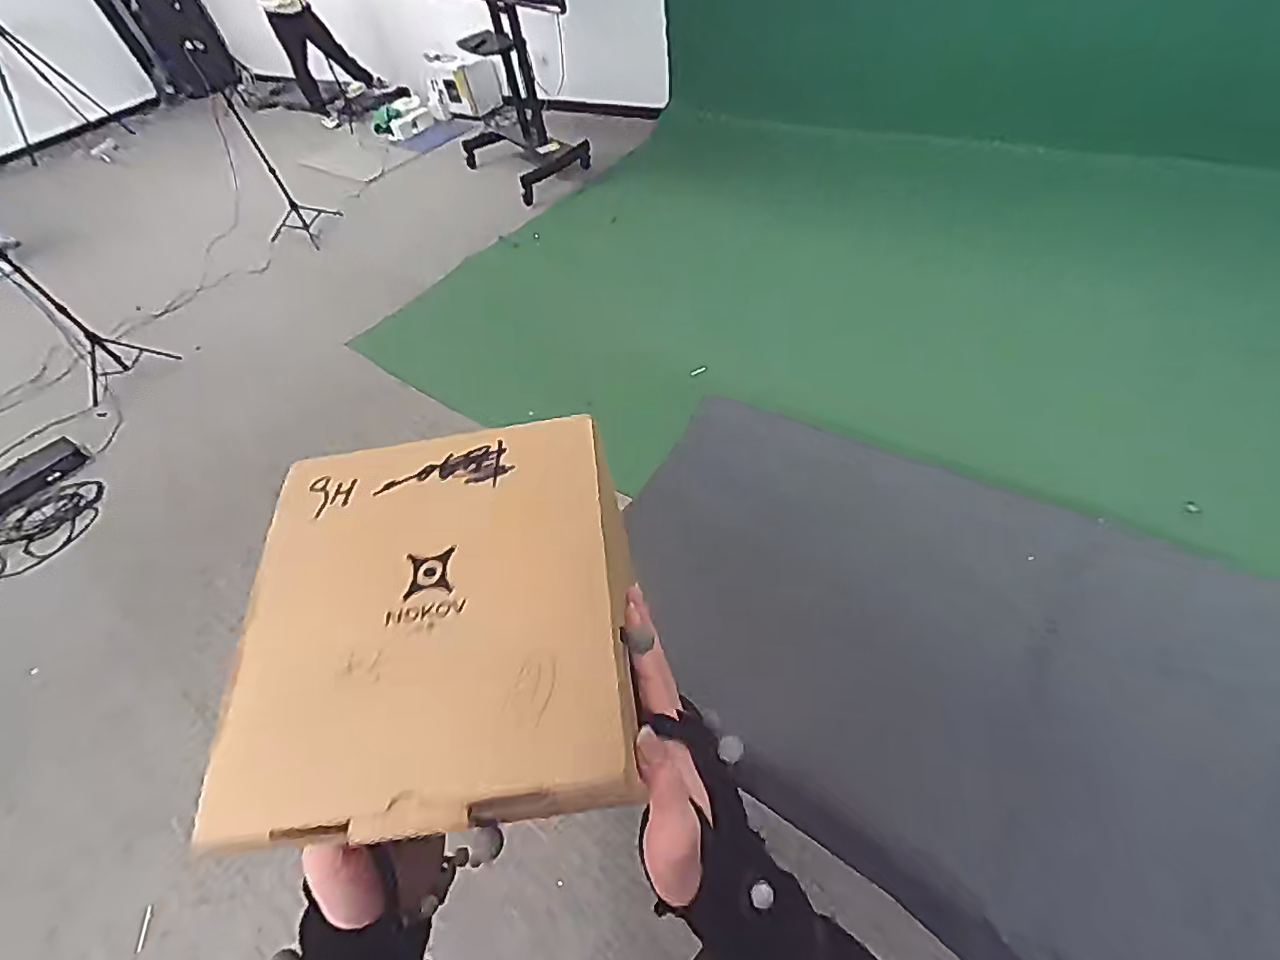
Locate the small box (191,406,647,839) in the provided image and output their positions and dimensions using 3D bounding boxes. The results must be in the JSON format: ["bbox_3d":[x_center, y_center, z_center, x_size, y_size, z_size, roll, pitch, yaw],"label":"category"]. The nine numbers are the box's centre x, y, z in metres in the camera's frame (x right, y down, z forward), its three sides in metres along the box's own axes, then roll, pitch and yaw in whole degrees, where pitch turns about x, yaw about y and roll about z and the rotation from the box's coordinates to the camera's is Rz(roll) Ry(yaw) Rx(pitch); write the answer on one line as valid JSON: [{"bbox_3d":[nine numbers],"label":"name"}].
[{"bbox_3d":[-0.089,0.086,0.308,0.168,0.176,0.179,-8,58,-2],"label":"small box"}]
